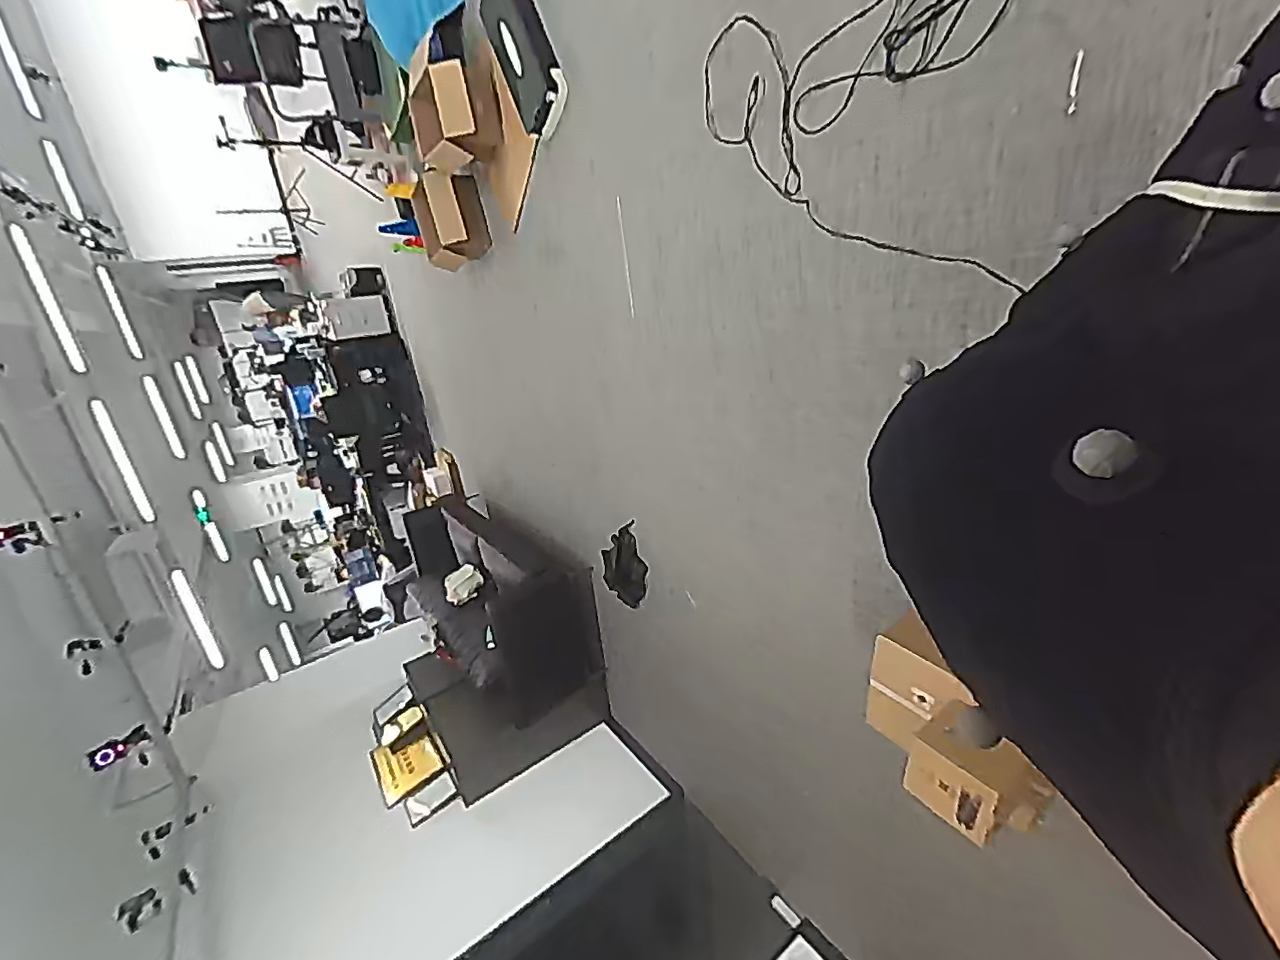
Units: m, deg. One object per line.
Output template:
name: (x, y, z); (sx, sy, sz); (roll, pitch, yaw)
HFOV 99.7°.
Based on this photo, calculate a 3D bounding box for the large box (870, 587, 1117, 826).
large box: (0.861, 0.532, 1.356); (0.408, 0.320, 0.320); (28, 129, 50)
